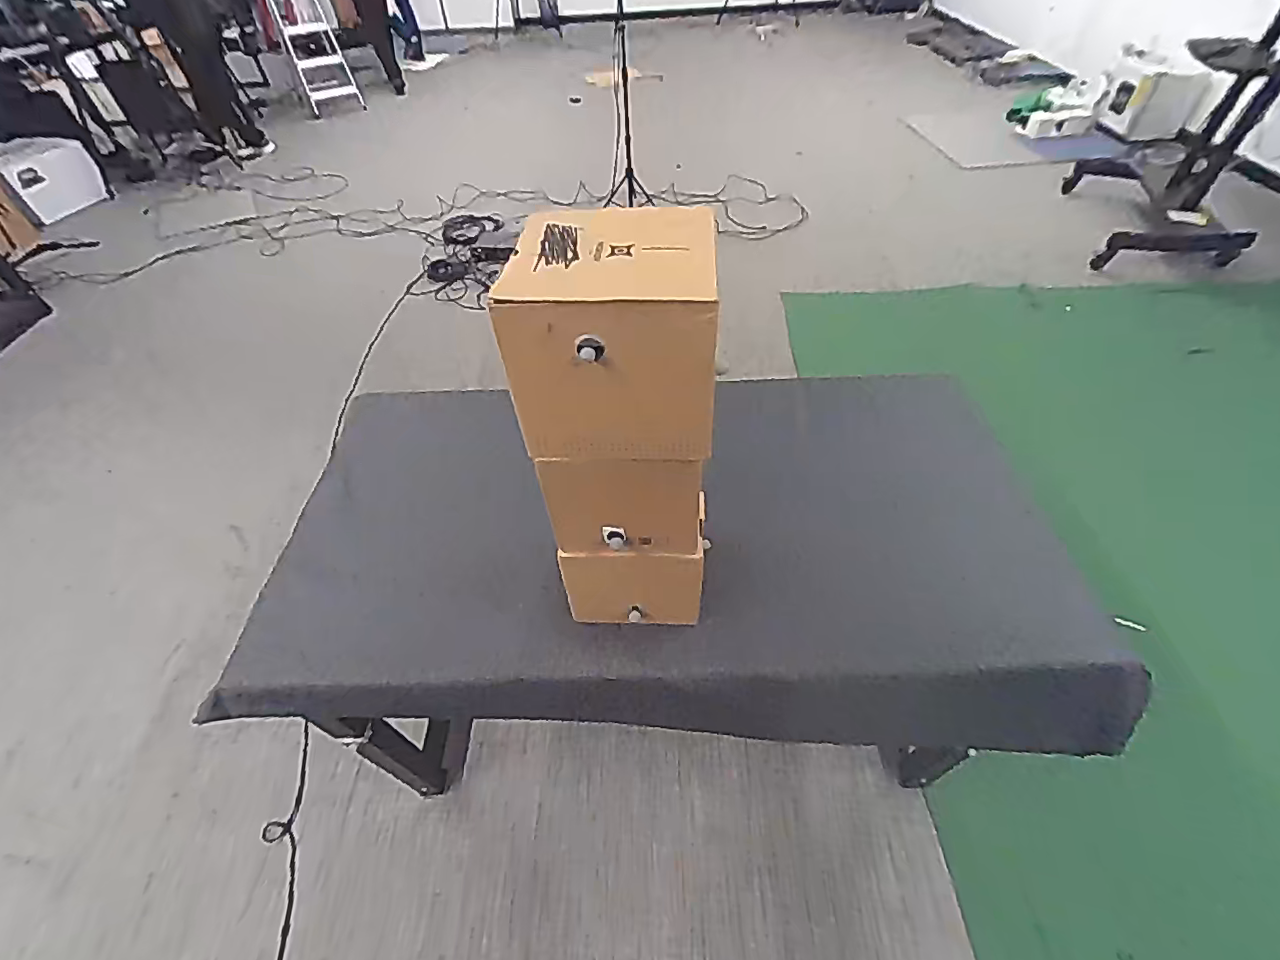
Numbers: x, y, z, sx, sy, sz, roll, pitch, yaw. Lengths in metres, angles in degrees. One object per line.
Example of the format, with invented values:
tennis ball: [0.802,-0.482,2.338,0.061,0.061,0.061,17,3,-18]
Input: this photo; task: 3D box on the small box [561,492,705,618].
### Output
small box: [-0.004,0.082,0.760,0.179,0.176,0.168,0,48,3]

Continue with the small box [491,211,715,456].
small box: [-0.019,-0.137,0.519,0.179,0.176,0.168,1,48,5]

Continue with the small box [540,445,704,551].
small box: [-0.012,-0.033,0.646,0.168,0.176,0.179,-2,49,4]
